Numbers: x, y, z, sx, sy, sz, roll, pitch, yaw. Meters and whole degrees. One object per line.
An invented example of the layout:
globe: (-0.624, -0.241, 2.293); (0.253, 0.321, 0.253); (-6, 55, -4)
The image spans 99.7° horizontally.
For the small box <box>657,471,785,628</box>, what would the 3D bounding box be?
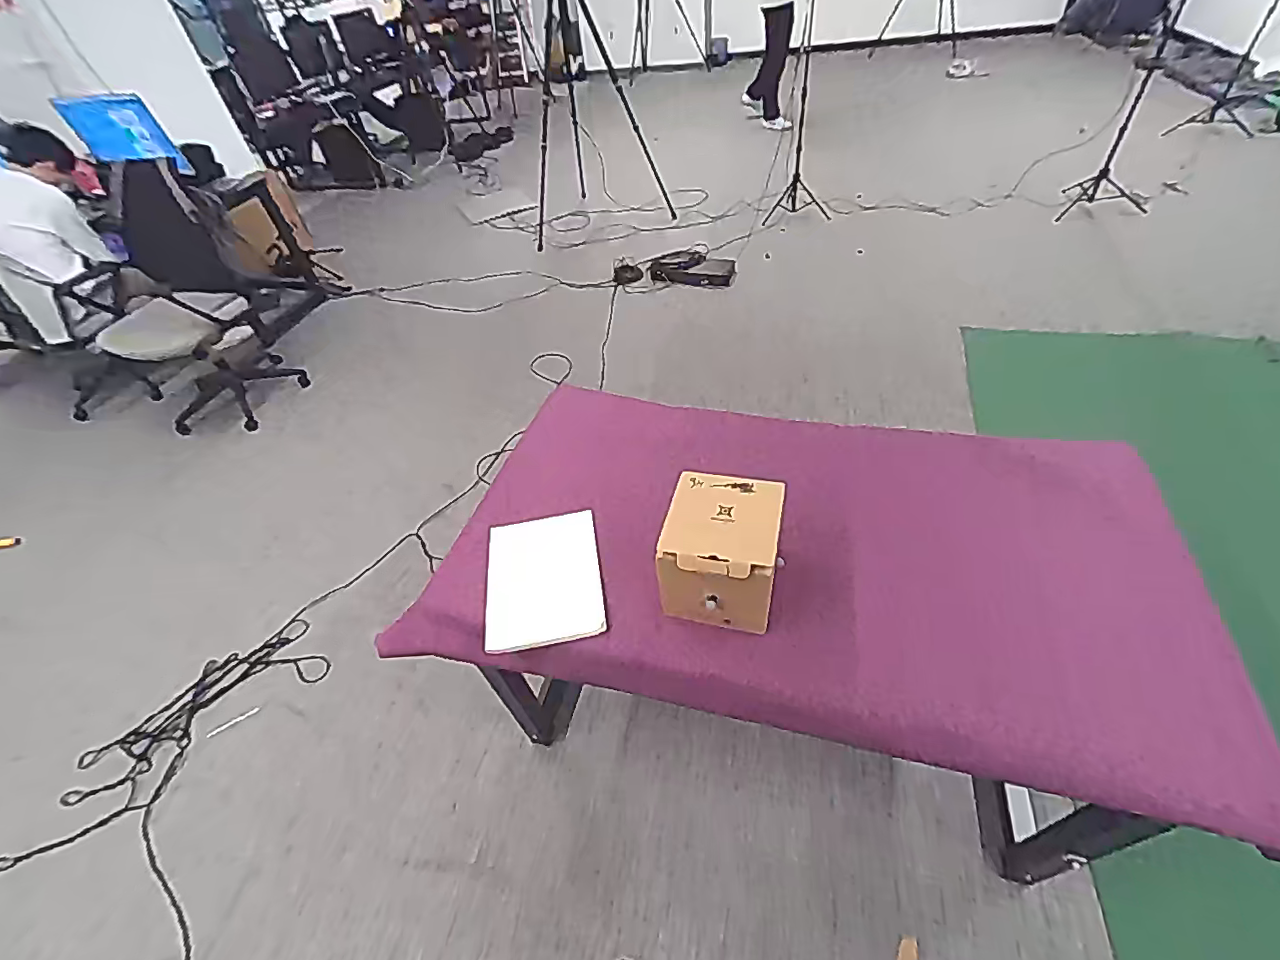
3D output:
small box: (0.134, 0.112, 0.863); (0.168, 0.176, 0.179); (8, 48, 15)
